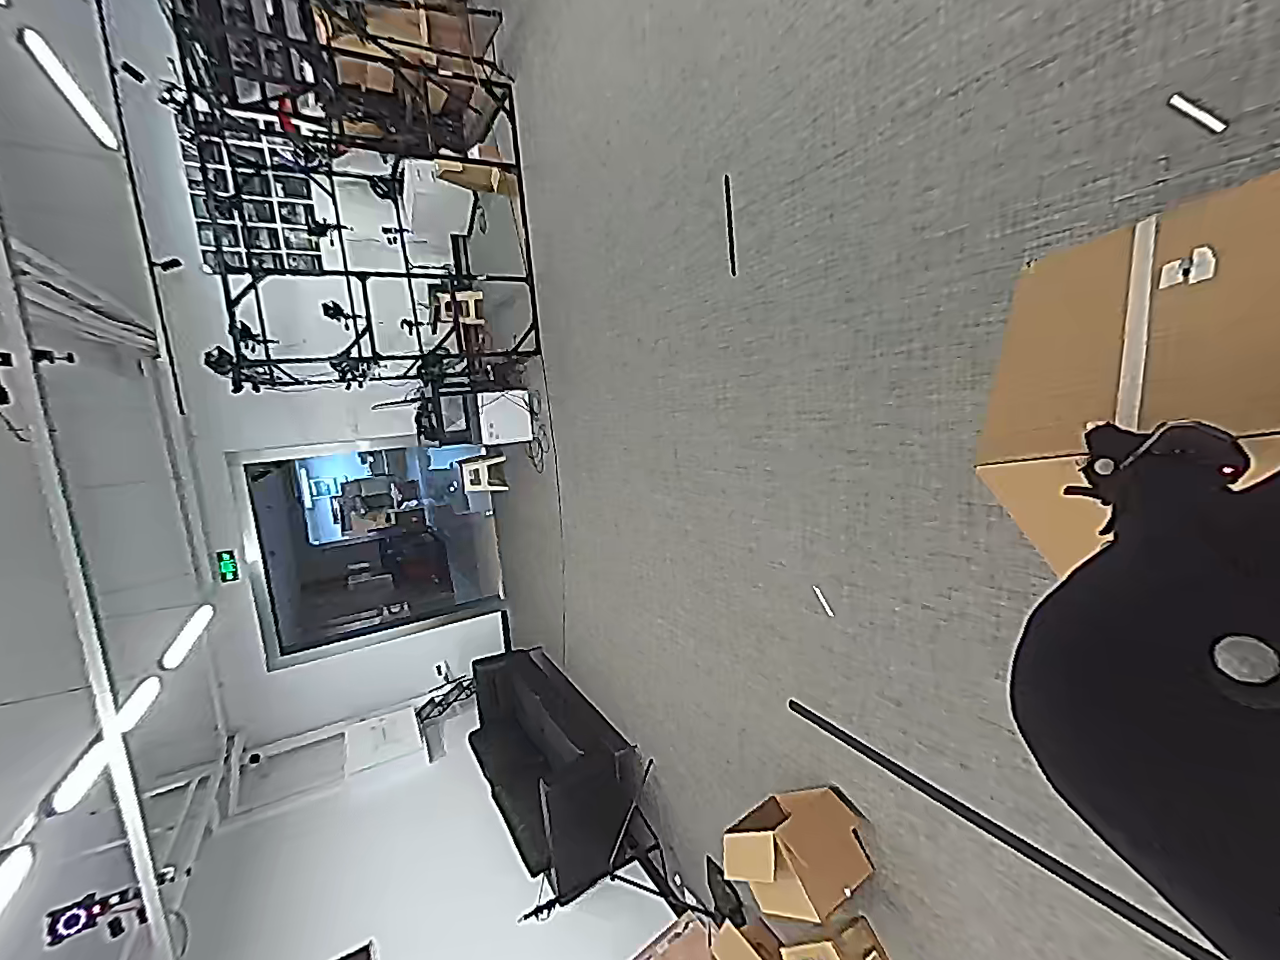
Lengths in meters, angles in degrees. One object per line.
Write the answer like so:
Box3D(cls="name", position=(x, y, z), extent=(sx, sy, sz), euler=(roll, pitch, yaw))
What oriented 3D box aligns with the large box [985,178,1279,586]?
Box3D(cls="large box", position=(0.730, -0.106, 0.731), extent=(0.320, 0.320, 0.408), euler=(-8, 47, 55))
